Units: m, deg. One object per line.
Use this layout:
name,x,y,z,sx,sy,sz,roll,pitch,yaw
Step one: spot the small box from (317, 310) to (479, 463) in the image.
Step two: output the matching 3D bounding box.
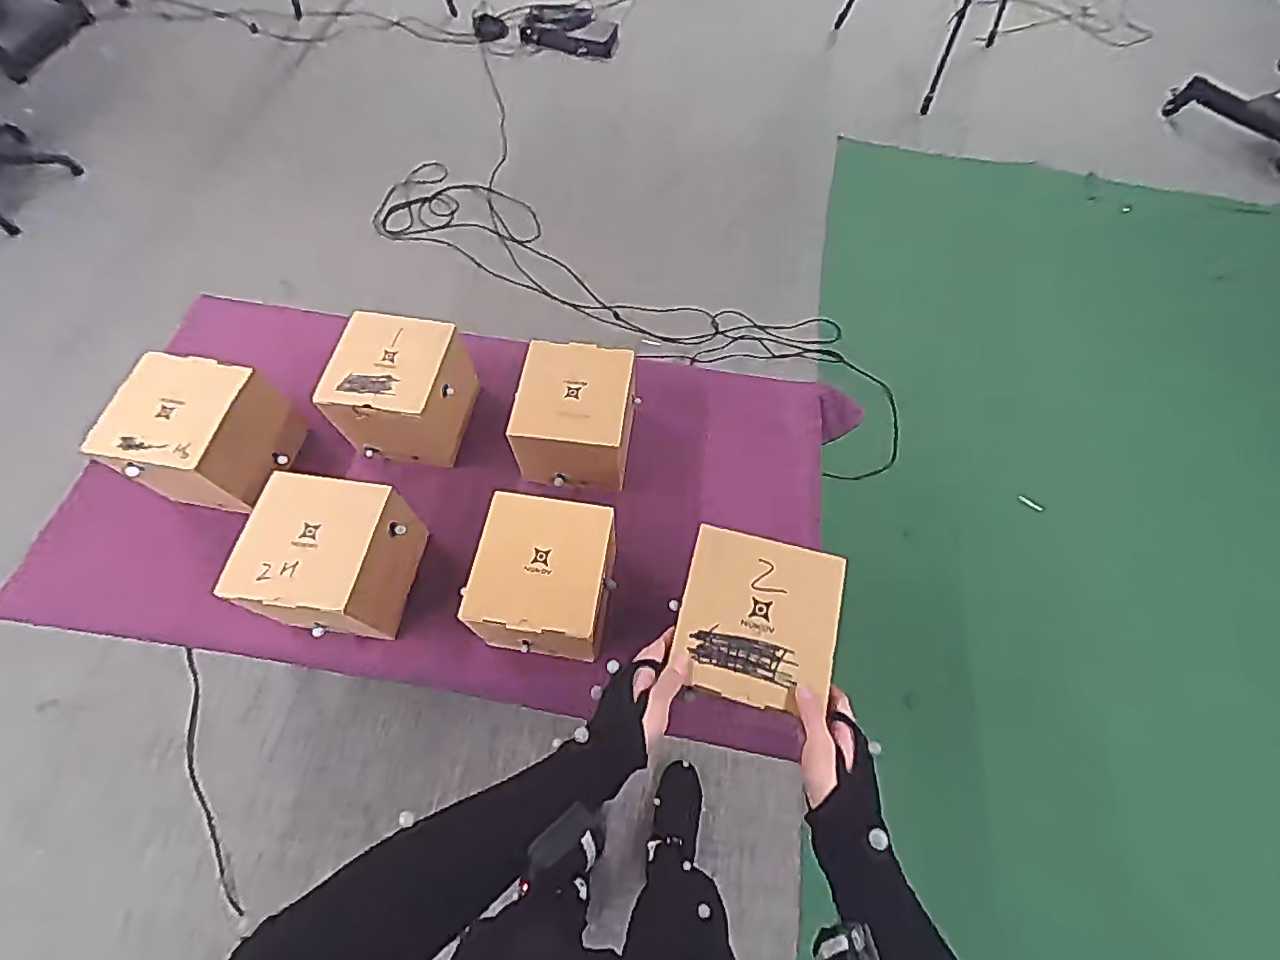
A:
small box,-0.378,-0.145,0.886,0.168,0.176,0.179,9,64,2

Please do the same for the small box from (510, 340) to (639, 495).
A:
small box,-0.098,-0.097,0.876,0.168,0.176,0.179,8,65,2

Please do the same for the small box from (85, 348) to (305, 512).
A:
small box,-0.661,-0.073,0.836,0.168,0.176,0.179,10,64,4

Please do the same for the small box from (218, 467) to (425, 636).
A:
small box,-0.423,0.106,0.760,0.168,0.176,0.179,8,63,2

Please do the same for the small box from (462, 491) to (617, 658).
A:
small box,-0.129,0.138,0.760,0.168,0.176,0.179,9,64,2
